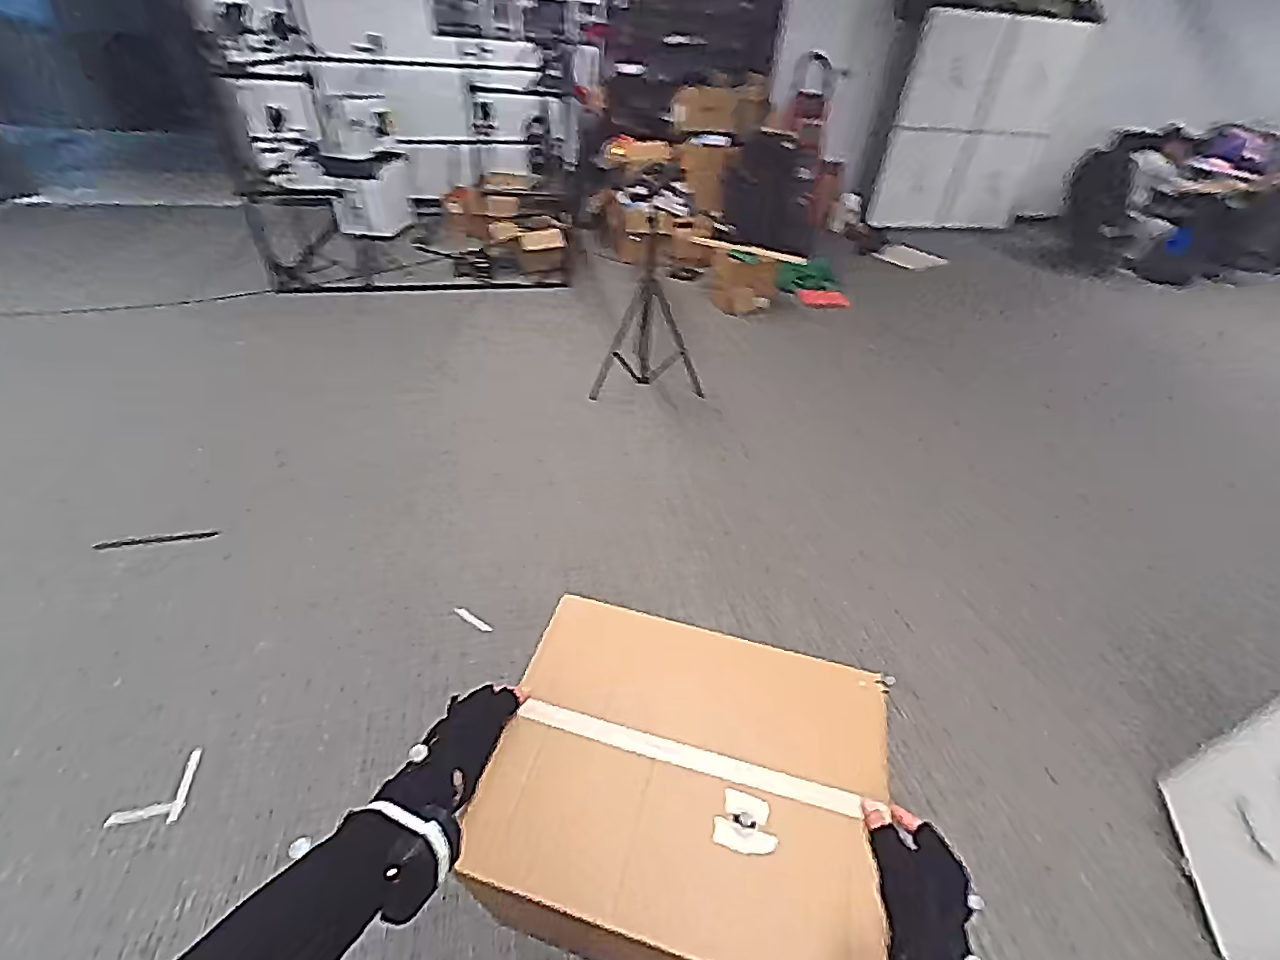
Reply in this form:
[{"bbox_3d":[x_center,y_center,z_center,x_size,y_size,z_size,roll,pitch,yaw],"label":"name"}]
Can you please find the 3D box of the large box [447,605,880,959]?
[{"bbox_3d":[0.037,0.407,0.683,0.408,0.320,0.320,11,44,9],"label":"large box"}]
